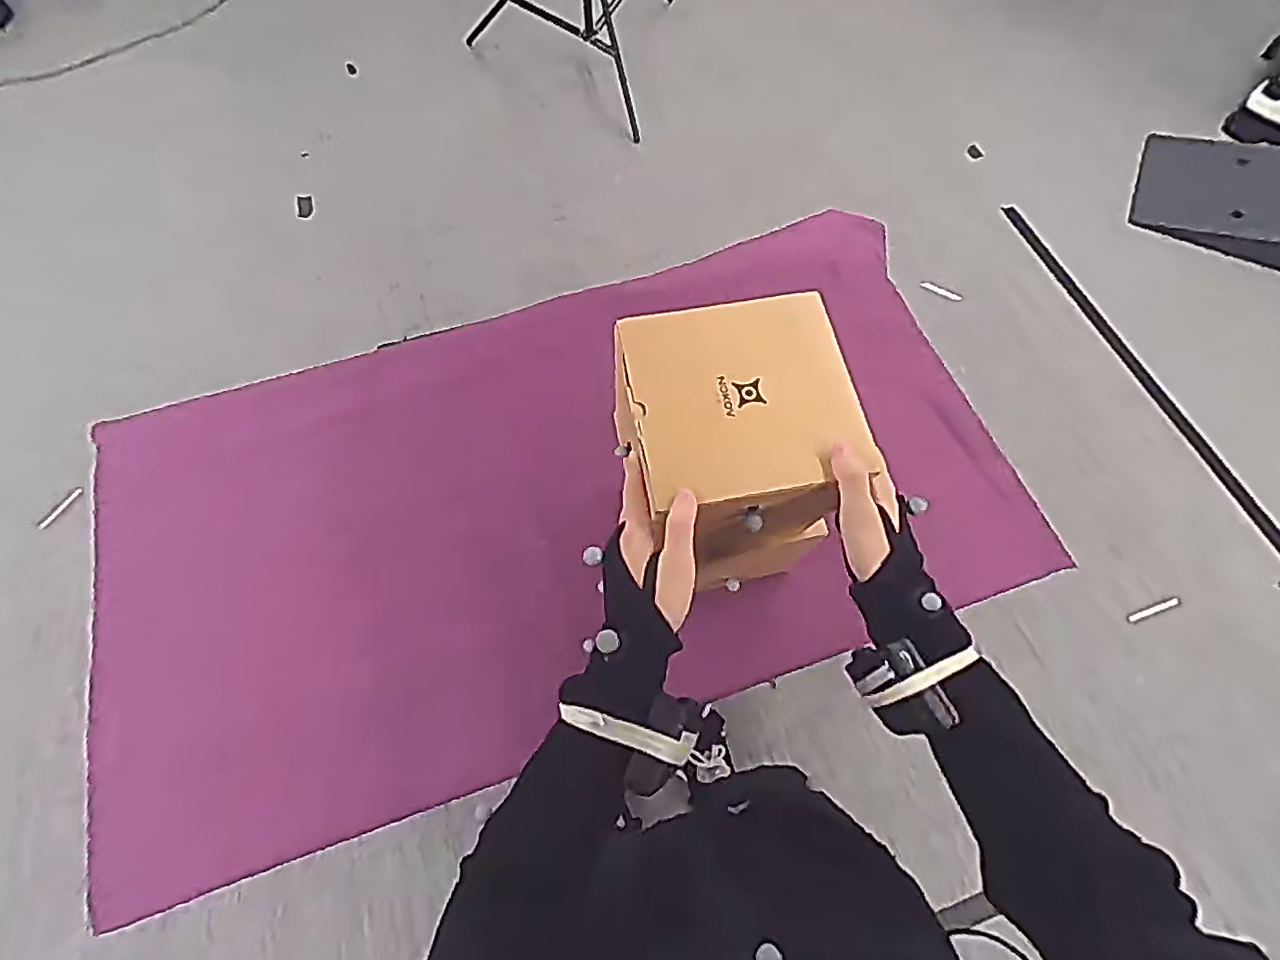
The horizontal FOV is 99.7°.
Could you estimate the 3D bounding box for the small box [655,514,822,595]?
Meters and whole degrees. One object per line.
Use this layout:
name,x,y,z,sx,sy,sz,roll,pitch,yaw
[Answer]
small box,0.092,0.026,0.657,0.168,0.176,0.179,-12,69,-4

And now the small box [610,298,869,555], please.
small box,0.071,-0.037,0.494,0.179,0.176,0.168,-10,72,-4
